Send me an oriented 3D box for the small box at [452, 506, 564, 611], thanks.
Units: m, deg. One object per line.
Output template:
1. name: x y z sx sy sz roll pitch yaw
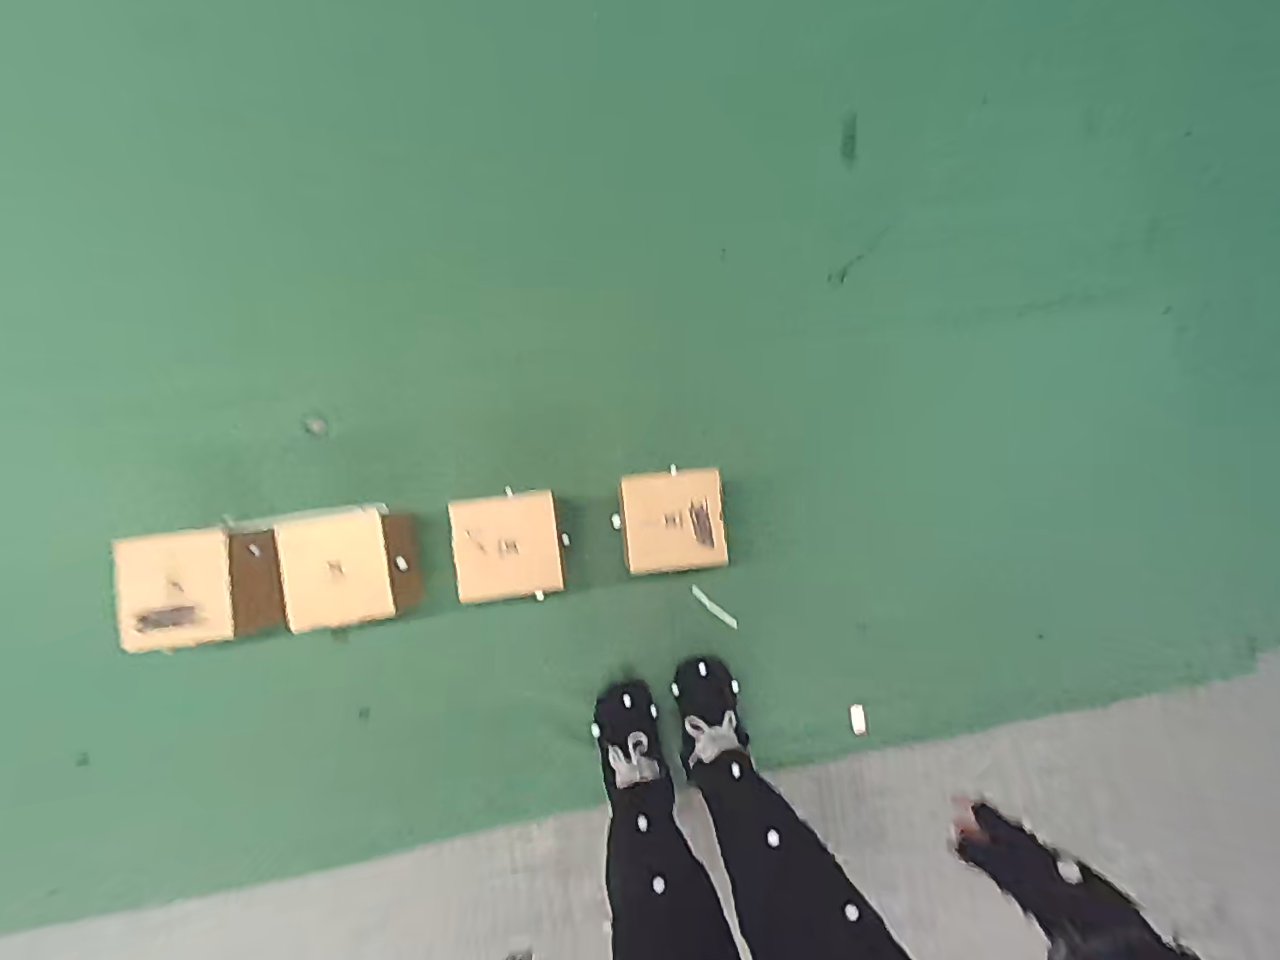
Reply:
1. small box: -0.232 0.137 0.992 0.179 0.176 0.168 -6 86 -6

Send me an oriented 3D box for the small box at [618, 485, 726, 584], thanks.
1. small box: 0.053 0.100 1.022 0.179 0.176 0.168 -4 85 -5

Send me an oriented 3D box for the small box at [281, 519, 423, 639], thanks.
1. small box: -0.504 0.168 0.966 0.168 0.176 0.179 -9 87 -6
